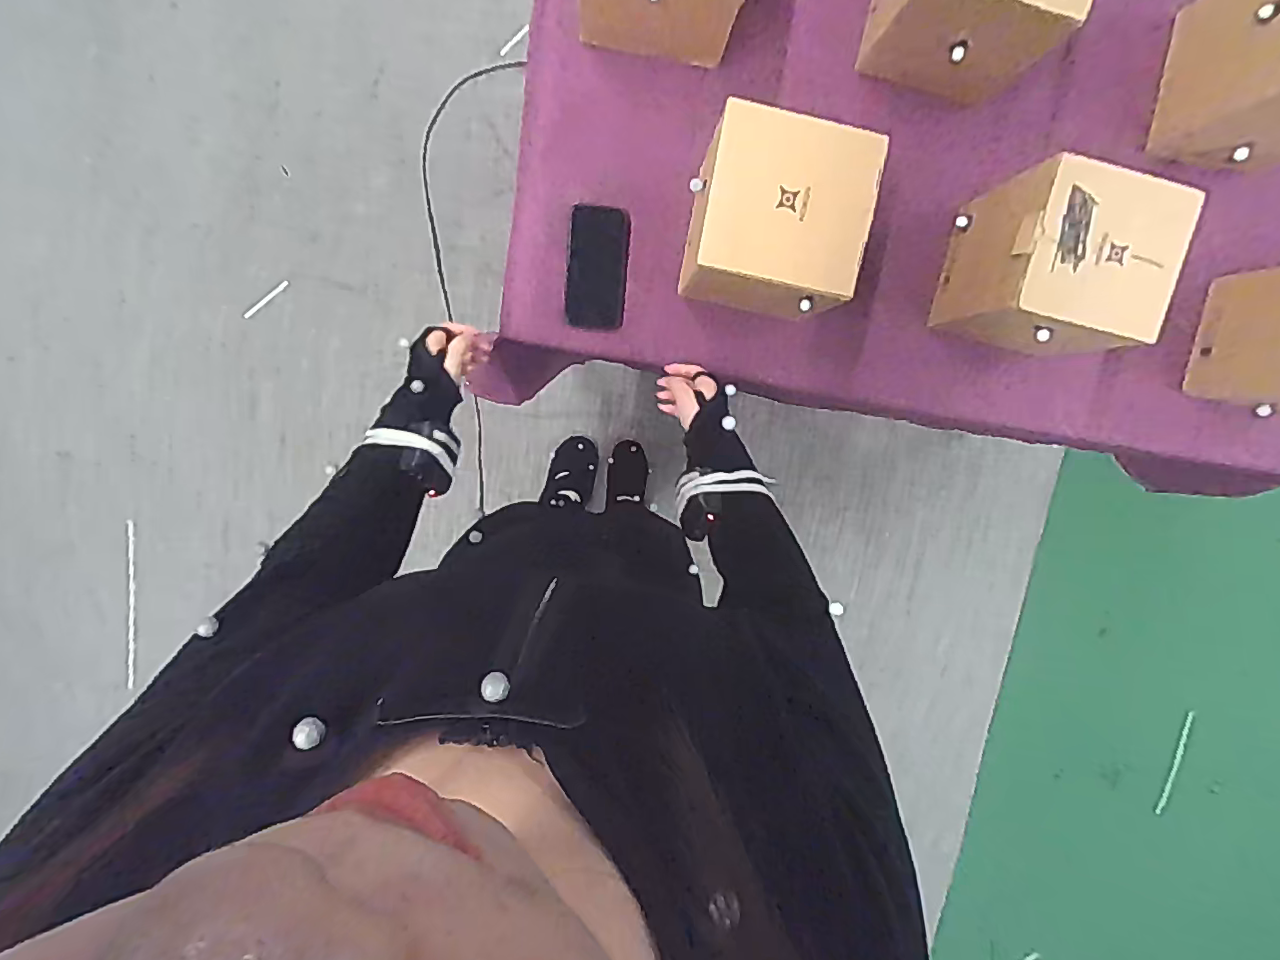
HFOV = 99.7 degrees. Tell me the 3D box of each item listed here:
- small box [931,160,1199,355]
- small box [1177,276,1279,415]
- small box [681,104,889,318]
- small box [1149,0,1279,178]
[{"bbox_3d":[0.503,-0.257,0.670,0.179,0.176,0.168,12,98,-6],"label":"small box"},{"bbox_3d":[0.883,-0.174,0.706,0.179,0.176,0.168,8,98,-5],"label":"small box"},{"bbox_3d":[0.154,-0.298,0.643,0.179,0.176,0.168,10,98,-6],"label":"small box"},{"bbox_3d":[0.777,-0.498,0.648,0.168,0.176,0.179,7,99,-4],"label":"small box"}]
